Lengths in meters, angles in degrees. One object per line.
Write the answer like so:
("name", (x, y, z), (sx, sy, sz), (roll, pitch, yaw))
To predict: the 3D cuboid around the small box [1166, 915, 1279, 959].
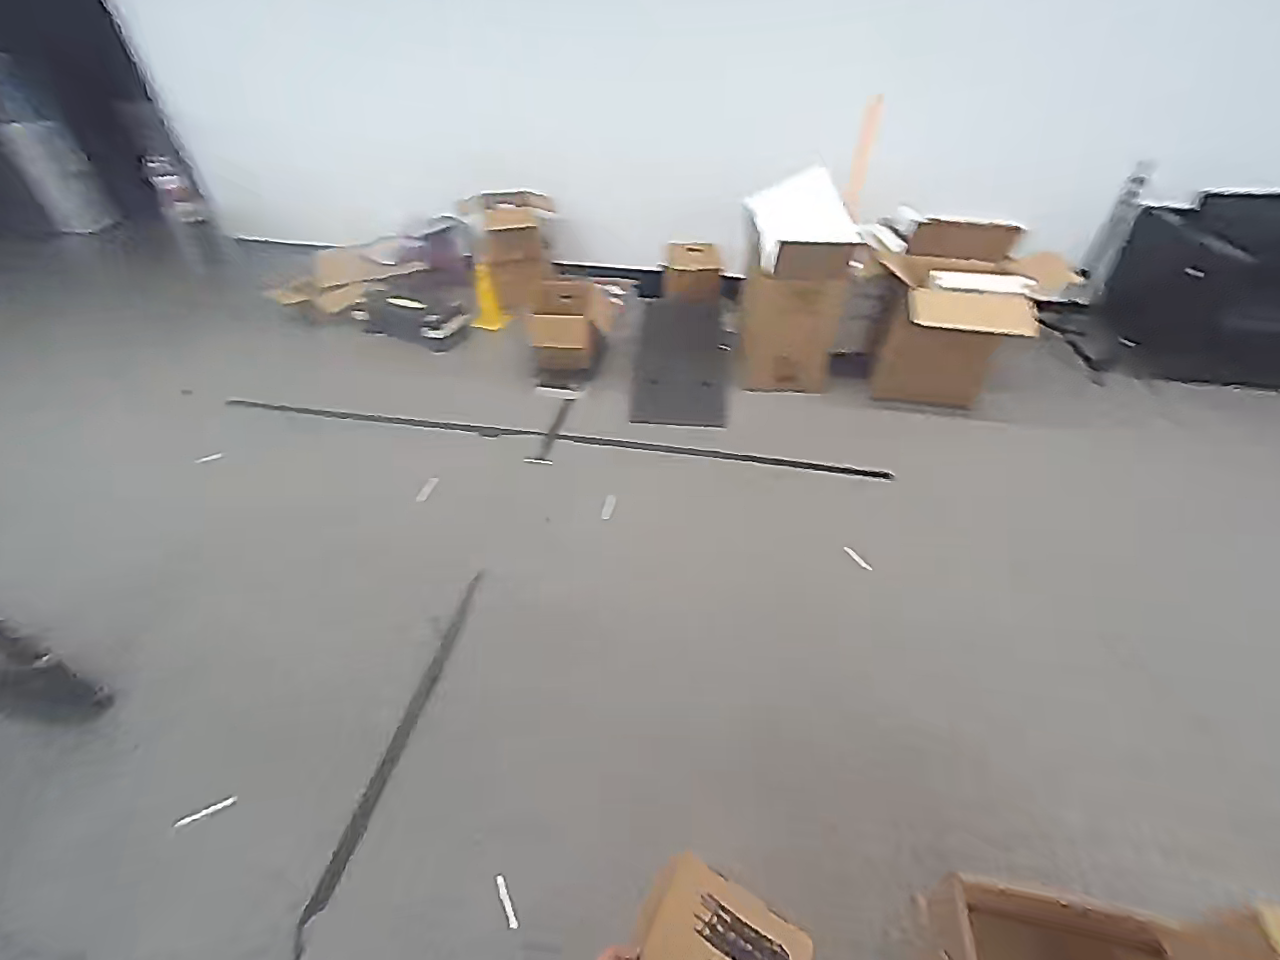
("small box", (0.747, 0.610, 0.583), (0.179, 0.176, 0.168), (11, 43, 11))
